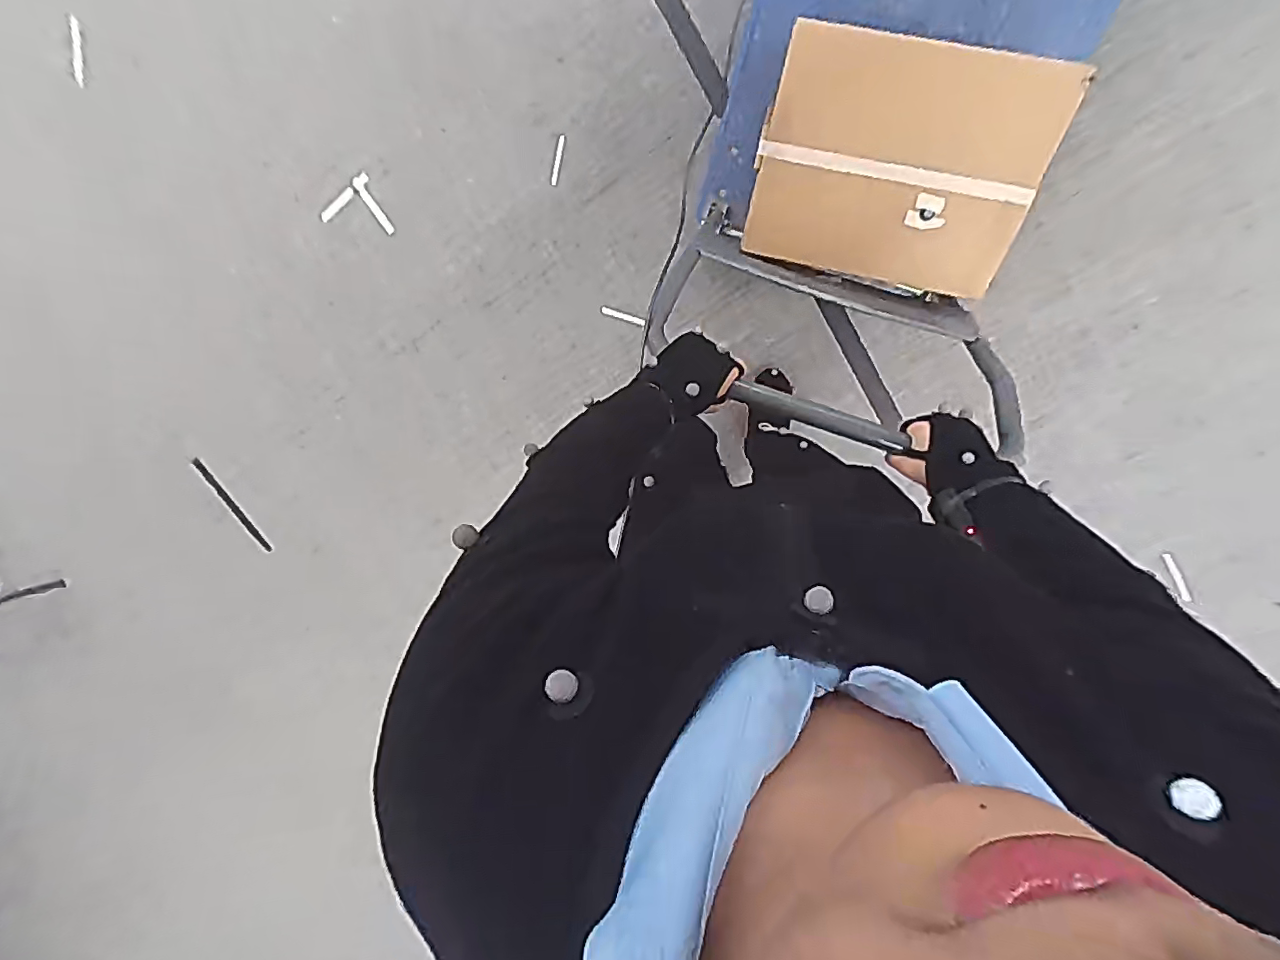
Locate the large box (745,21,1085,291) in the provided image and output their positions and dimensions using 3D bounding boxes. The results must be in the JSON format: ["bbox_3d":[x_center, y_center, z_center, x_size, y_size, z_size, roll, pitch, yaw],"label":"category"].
[{"bbox_3d":[0.422,-0.561,0.955,0.408,0.320,0.320,14,126,6],"label":"large box"}]
